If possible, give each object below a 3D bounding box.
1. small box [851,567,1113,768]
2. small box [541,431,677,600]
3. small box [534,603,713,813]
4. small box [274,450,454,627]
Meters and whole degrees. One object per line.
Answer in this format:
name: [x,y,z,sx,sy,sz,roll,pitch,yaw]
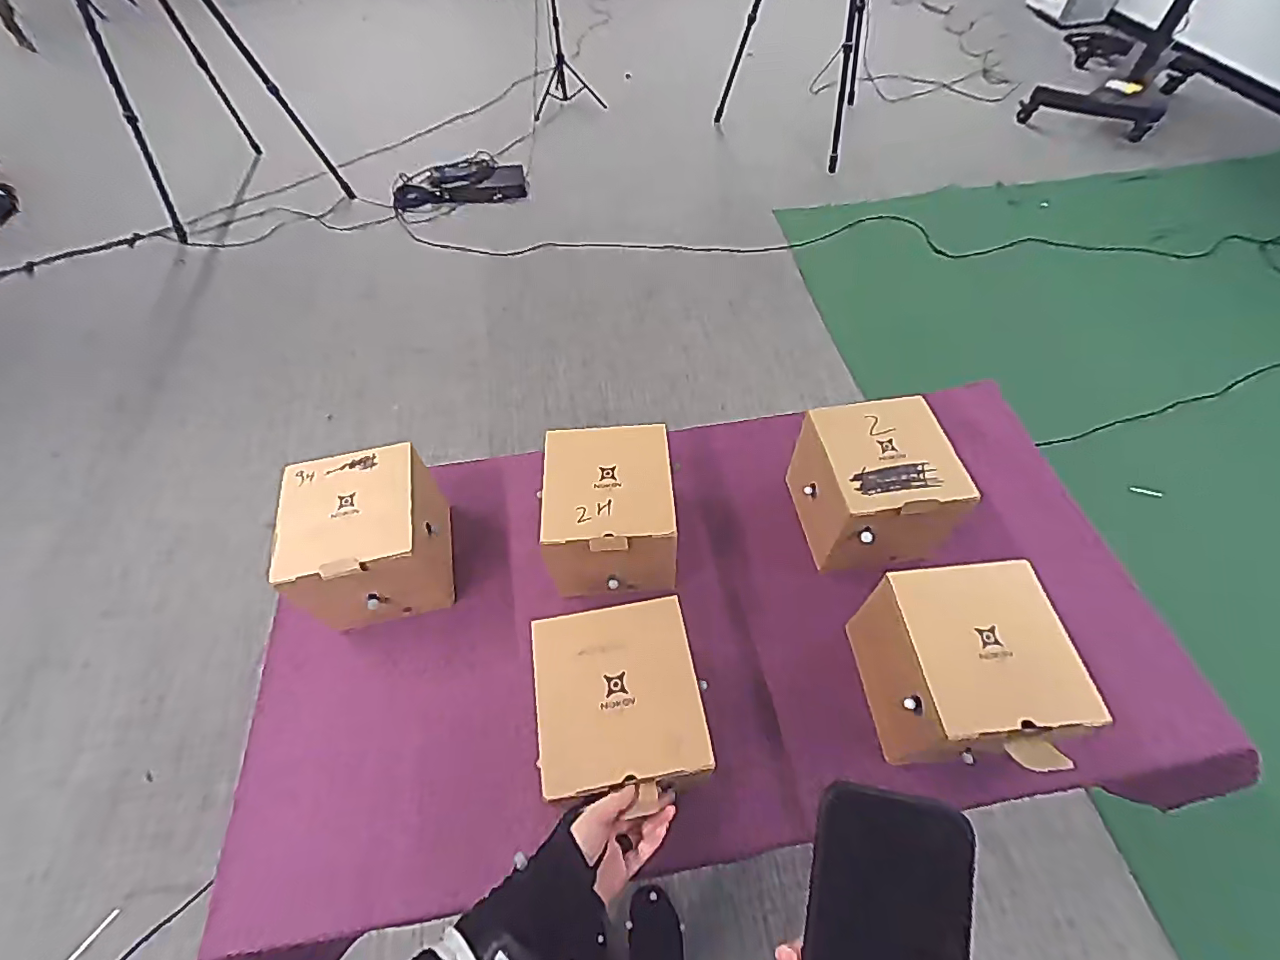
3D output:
small box: [0.366,0.220,0.626,0.168,0.176,0.179,-5,56,-1]
small box: [-0.038,0.052,0.757,0.168,0.176,0.179,-3,56,0]
small box: [-0.020,0.264,0.612,0.168,0.176,0.179,-9,55,-4]
small box: [-0.363,0.088,0.745,0.168,0.176,0.179,-12,57,-7]
